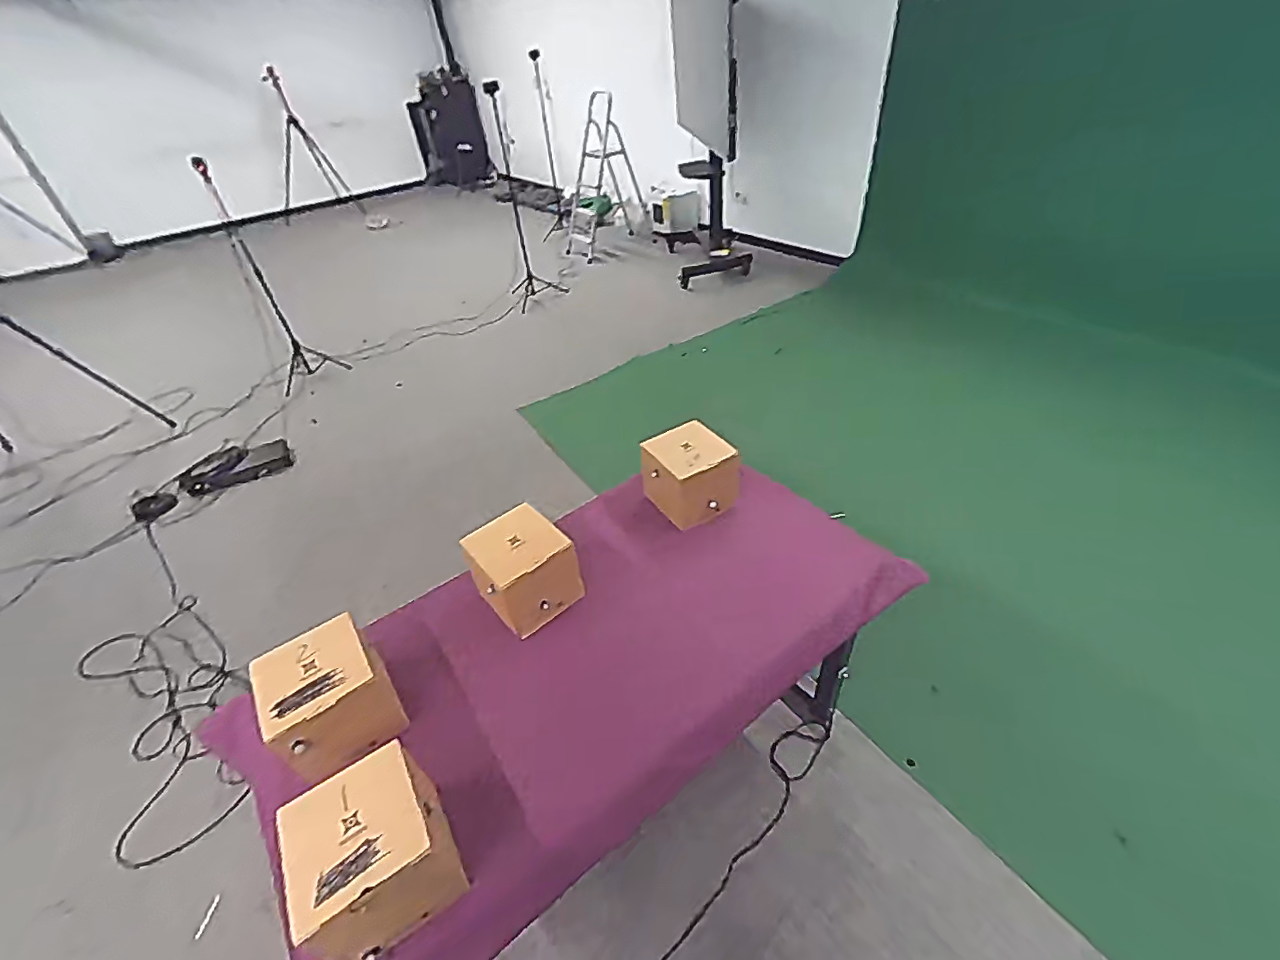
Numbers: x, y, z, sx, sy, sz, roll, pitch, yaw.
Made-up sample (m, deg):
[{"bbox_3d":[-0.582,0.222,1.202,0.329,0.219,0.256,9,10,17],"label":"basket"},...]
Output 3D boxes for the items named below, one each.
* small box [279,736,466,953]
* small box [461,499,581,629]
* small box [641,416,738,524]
[{"bbox_3d":[-0.364,0.508,0.753,0.168,0.176,0.179,-27,43,-23],"label":"small box"},{"bbox_3d":[-0.244,0.176,1.132,0.168,0.176,0.179,-33,48,-28],"label":"small box"},{"bbox_3d":[0.118,-0.024,1.316,0.168,0.176,0.179,-25,45,-20],"label":"small box"}]
